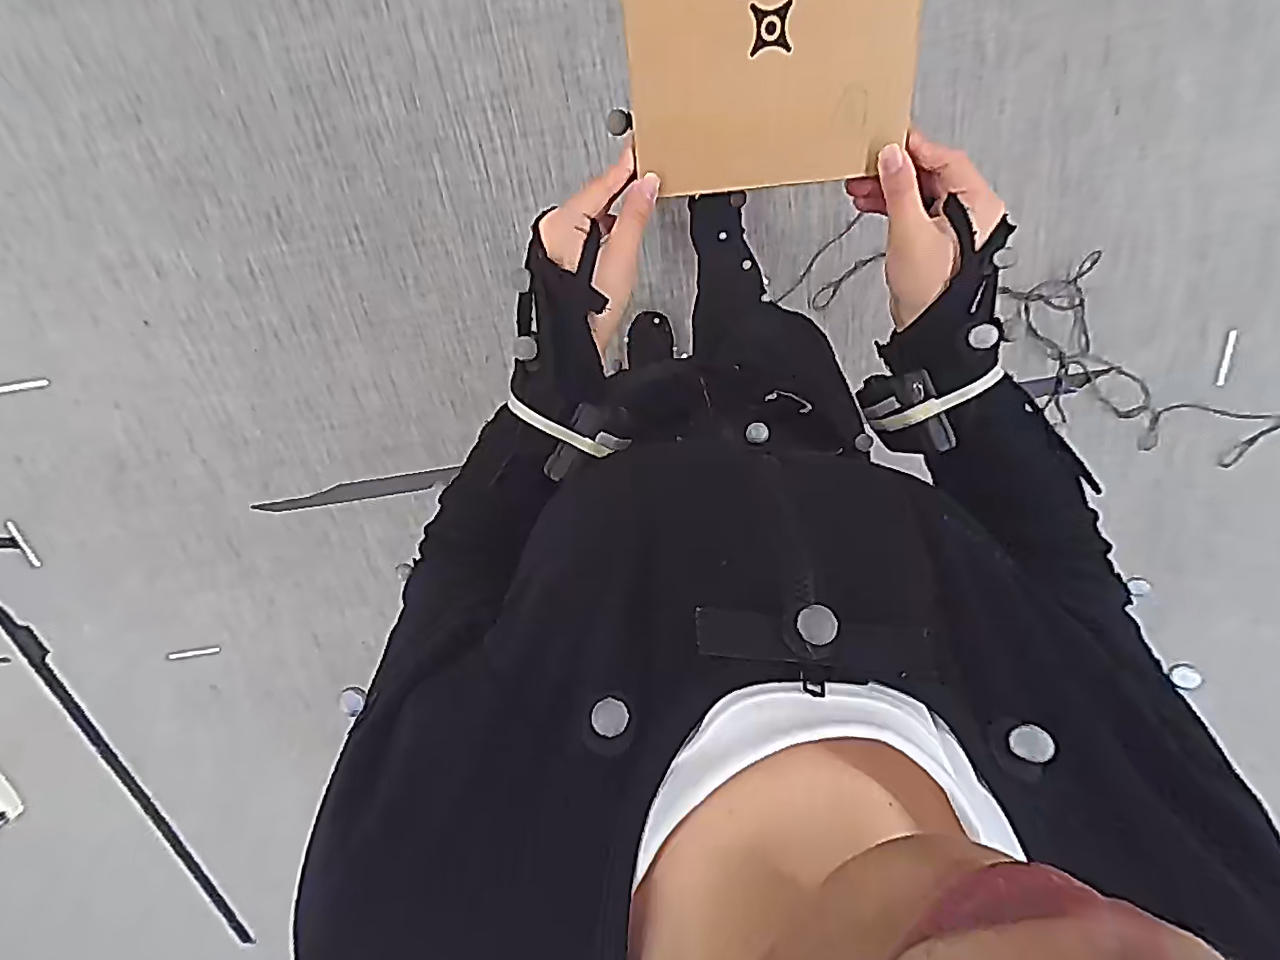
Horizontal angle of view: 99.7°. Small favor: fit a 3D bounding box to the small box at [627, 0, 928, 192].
[{"bbox_3d":[0.076,-0.303,0.363,0.168,0.176,0.179,-5,120,3],"label":"small box"}]
